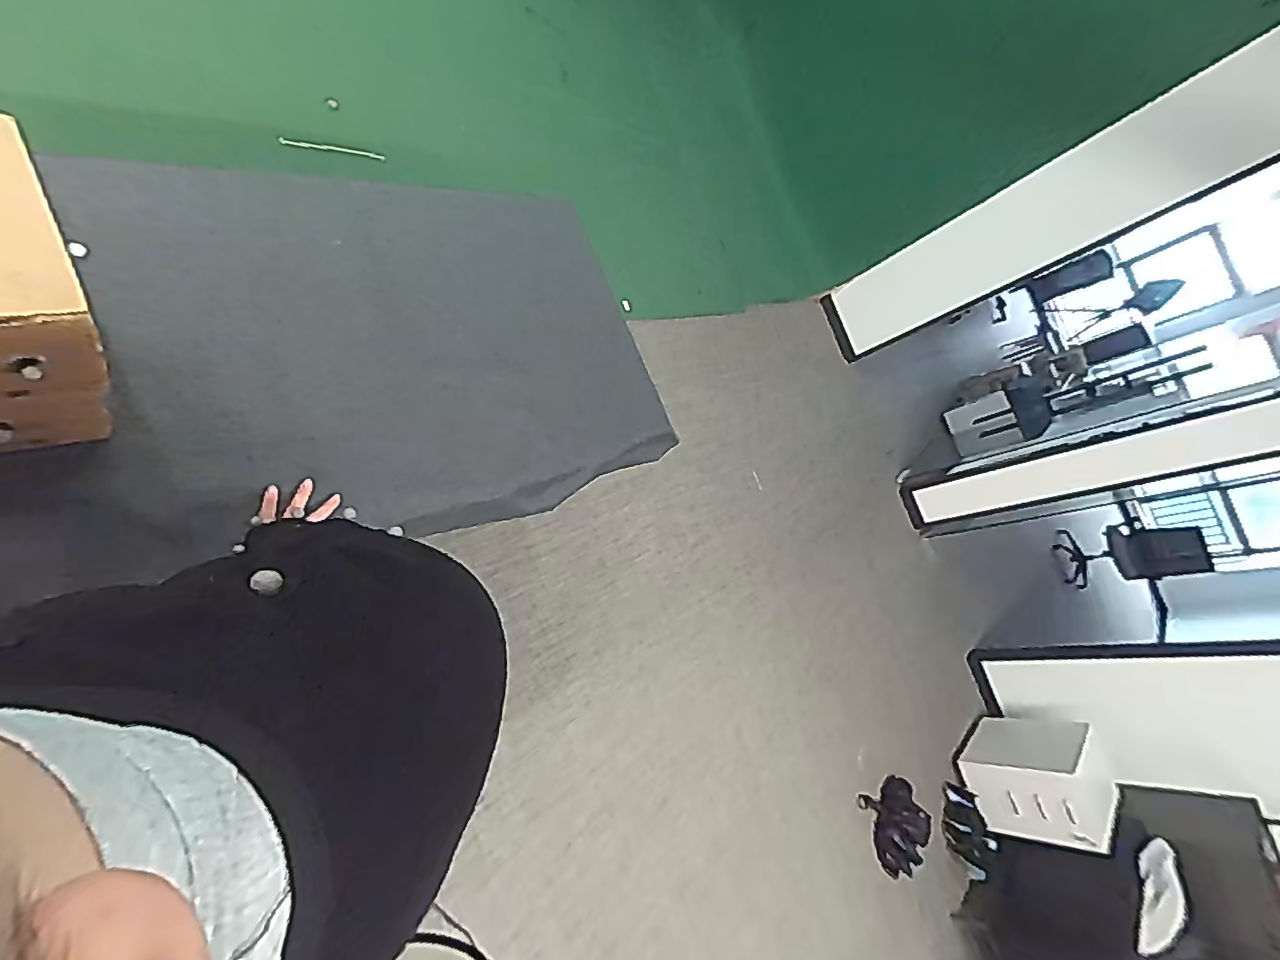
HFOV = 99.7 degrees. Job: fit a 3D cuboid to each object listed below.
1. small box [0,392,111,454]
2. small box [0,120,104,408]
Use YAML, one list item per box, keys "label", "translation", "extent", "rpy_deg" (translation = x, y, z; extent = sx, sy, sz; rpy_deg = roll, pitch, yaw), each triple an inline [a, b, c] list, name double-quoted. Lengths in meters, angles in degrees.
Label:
- label: "small box"
  translation: [-0.674, -0.125, 0.545]
  extent: [0.168, 0.176, 0.179]
  rpy_deg: [-20, 87, -43]
- label: "small box"
  translation: [-0.566, -0.158, 0.426]
  extent: [0.168, 0.176, 0.179]
  rpy_deg: [-23, 88, -44]
